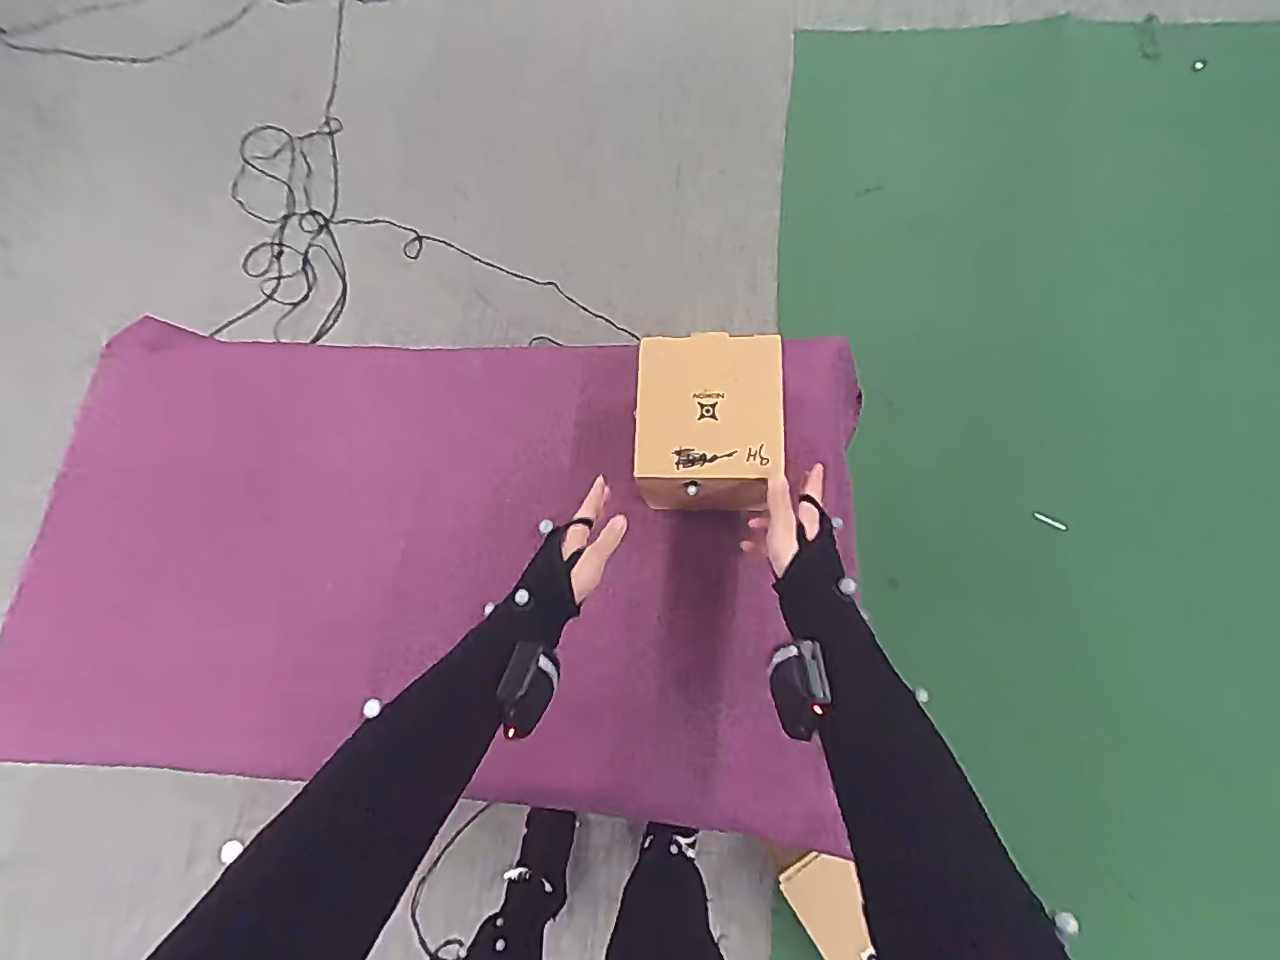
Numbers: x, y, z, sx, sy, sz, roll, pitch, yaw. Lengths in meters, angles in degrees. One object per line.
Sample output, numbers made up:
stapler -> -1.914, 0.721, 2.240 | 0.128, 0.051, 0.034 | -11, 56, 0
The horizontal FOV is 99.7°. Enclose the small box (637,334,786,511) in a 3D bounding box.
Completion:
small box -> 0.091, -0.066, 0.690 | 0.168, 0.176, 0.179 | 1, 74, 8
